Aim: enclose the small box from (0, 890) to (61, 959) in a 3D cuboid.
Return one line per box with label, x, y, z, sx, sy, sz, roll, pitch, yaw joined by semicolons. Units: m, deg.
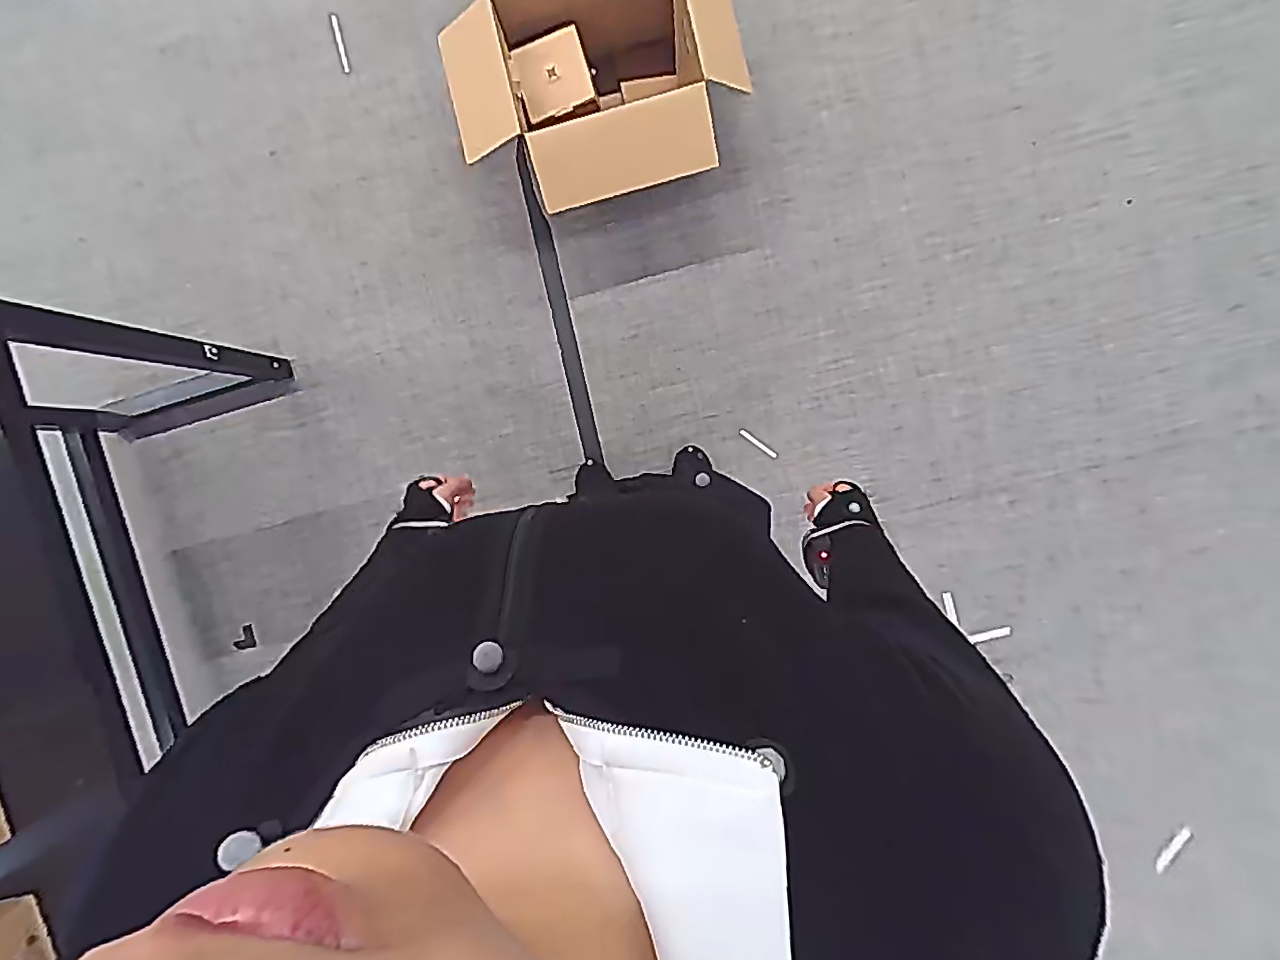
small box;-1.025;0.753;0.790;0.179;0.176;0.168;-16;93;3
